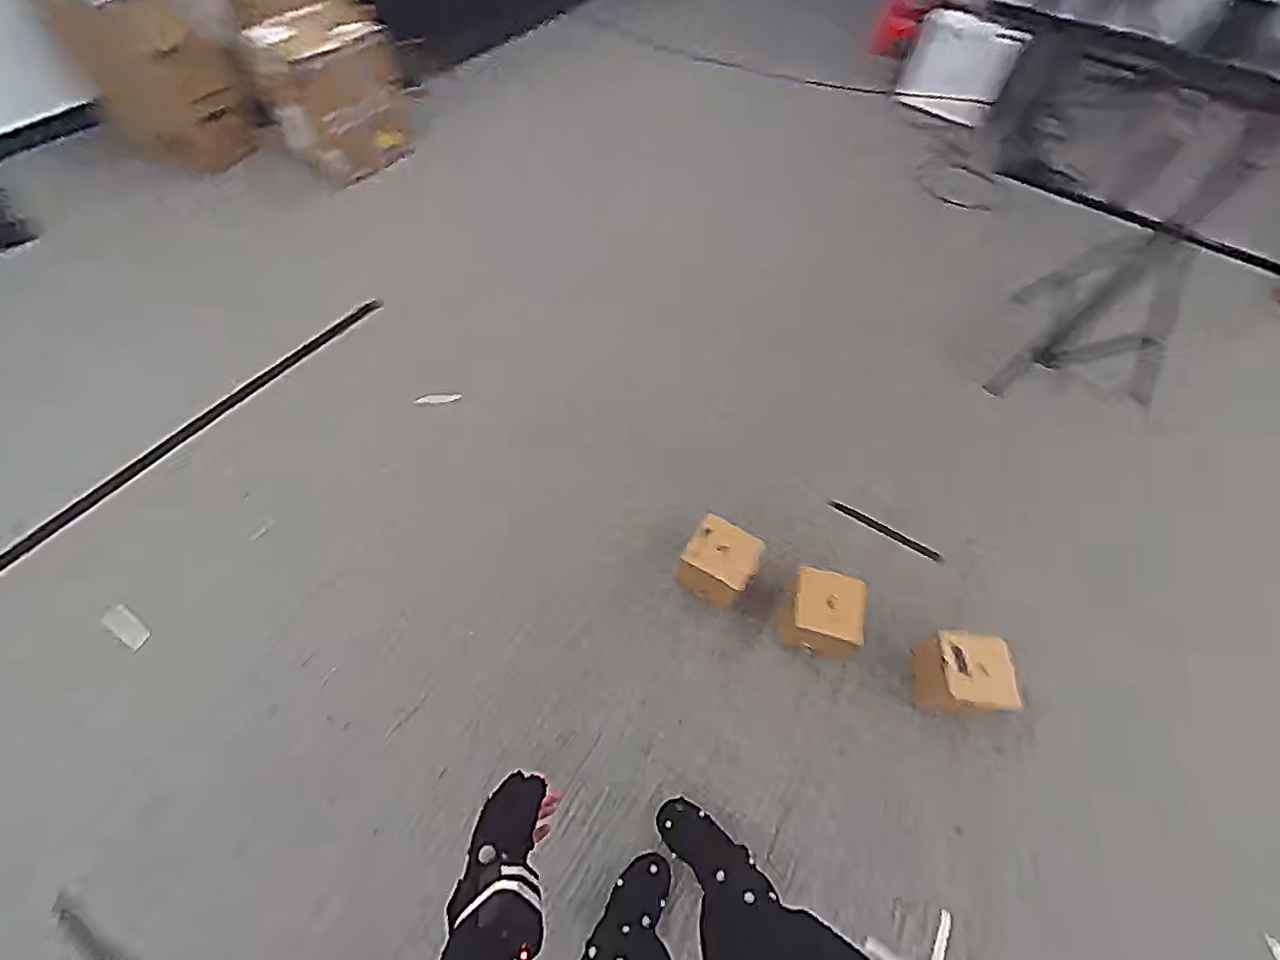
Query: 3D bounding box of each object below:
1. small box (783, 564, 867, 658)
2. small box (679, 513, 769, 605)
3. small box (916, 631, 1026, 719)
[{"bbox_3d":[0.492,0.354,1.449,0.168,0.176,0.179,14,59,6],"label":"small box"},{"bbox_3d":[0.229,0.228,1.509,0.179,0.176,0.168,30,61,14],"label":"small box"},{"bbox_3d":[0.828,0.502,1.379,0.179,0.176,0.168,10,58,1],"label":"small box"}]
